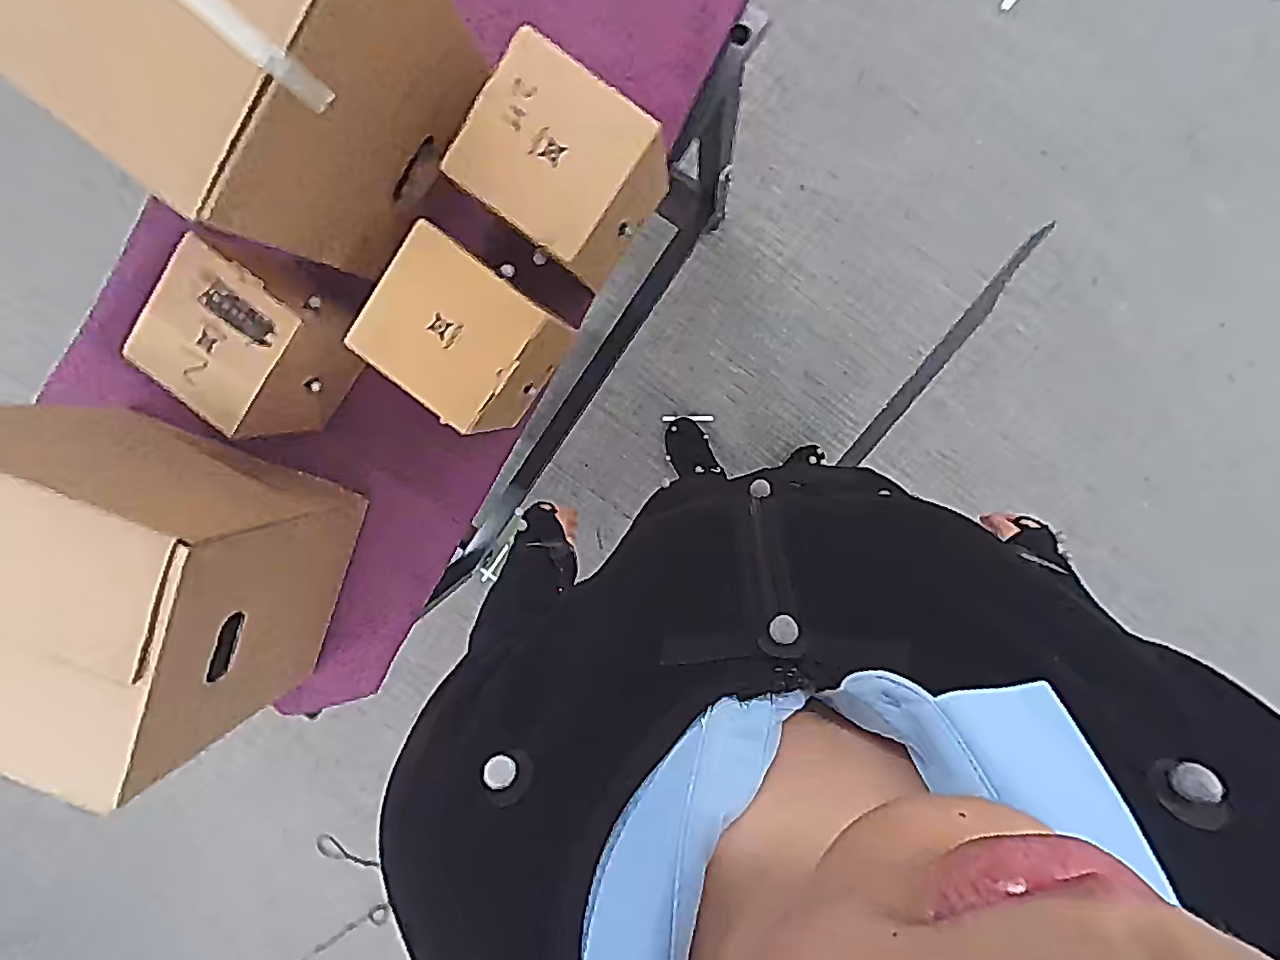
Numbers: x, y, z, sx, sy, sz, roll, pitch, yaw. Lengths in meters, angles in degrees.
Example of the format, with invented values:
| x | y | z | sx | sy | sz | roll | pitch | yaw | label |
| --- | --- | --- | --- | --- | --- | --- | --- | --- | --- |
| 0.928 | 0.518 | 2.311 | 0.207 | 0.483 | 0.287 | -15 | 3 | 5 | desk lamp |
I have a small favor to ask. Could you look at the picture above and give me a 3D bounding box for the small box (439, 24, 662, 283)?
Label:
| x | y | z | sx | sy | sz | roll | pitch | yaw | label |
| --- | --- | --- | --- | --- | --- | --- | --- | --- | --- |
| -0.087 | -0.354 | 0.632 | 0.179 | 0.176 | 0.168 | 37 | 99 | 0 | small box |
